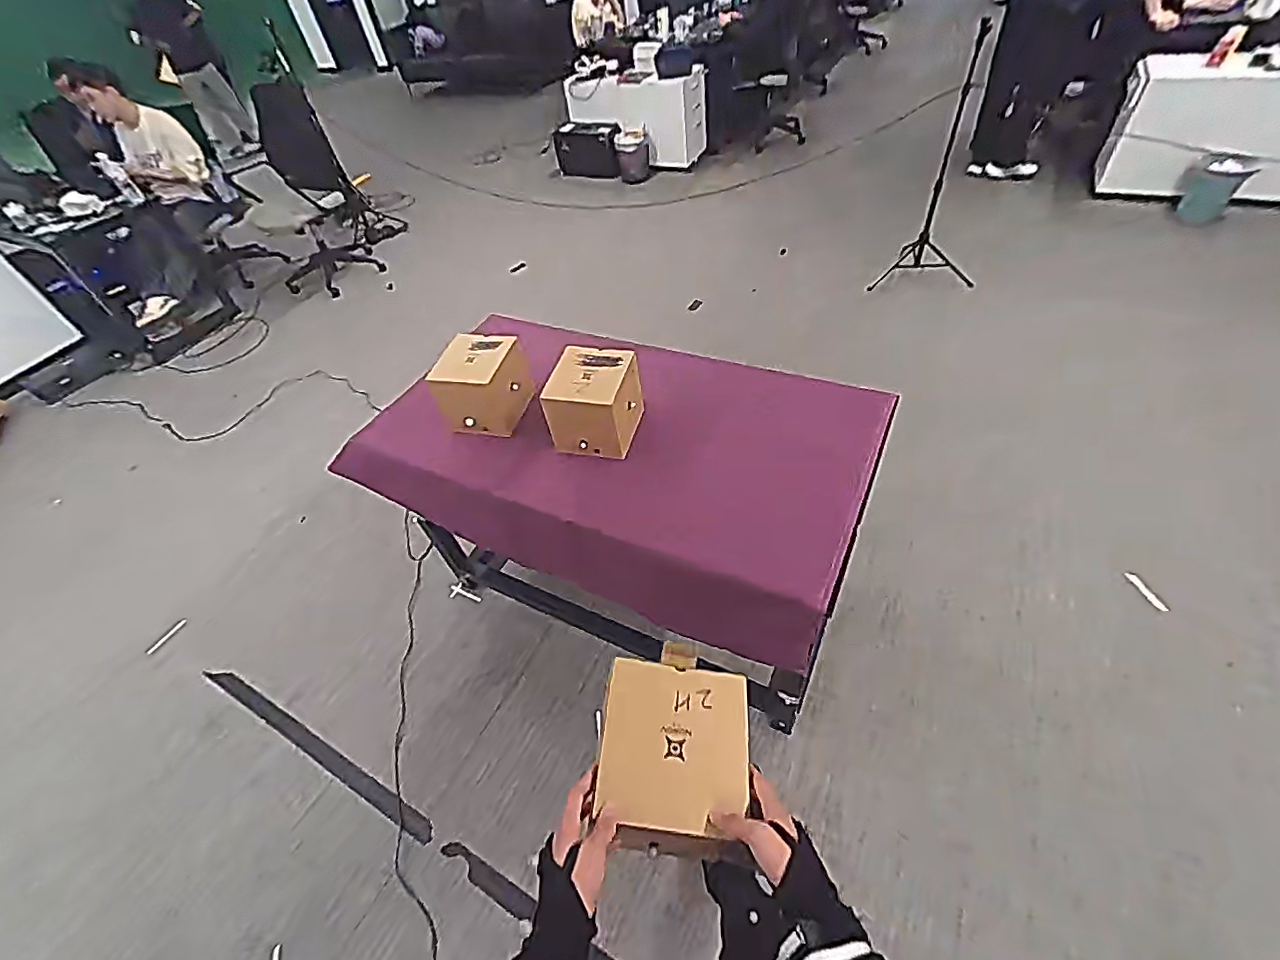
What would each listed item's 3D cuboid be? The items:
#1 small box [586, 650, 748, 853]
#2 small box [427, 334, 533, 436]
[{"bbox_3d":[0.030,0.334,0.657,0.168,0.176,0.179,10,49,-2],"label":"small box"},{"bbox_3d":[-0.376,-0.231,1.311,0.168,0.176,0.179,6,51,15],"label":"small box"}]
